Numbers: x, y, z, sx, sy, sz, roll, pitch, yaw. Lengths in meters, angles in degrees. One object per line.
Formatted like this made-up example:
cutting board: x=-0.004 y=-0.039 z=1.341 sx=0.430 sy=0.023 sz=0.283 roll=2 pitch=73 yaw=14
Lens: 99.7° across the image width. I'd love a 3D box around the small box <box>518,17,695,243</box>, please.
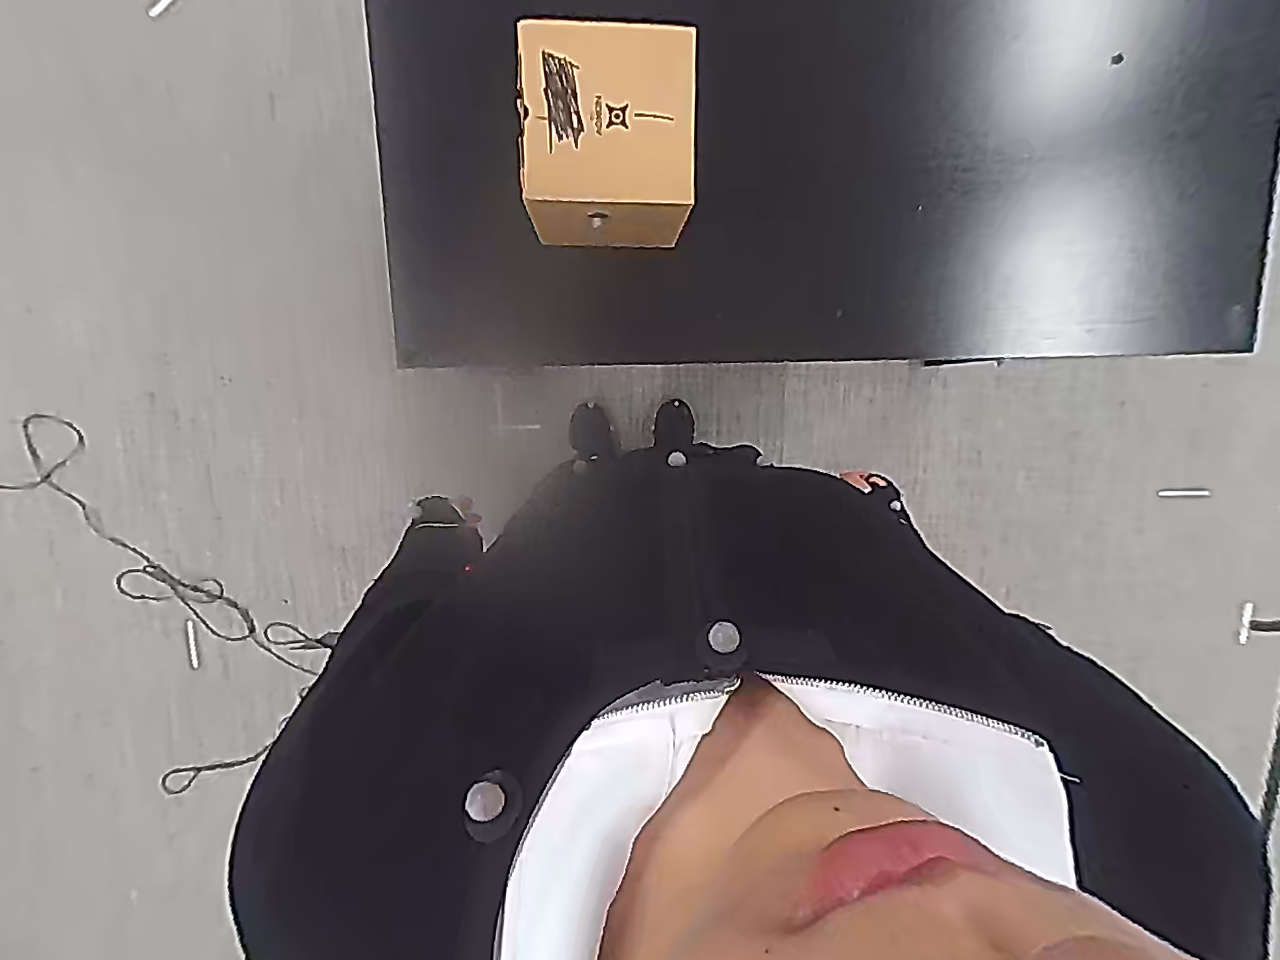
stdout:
small box: x=-0.037 y=-0.380 z=0.619 sx=0.179 sy=0.176 sz=0.168 roll=-1 pitch=99 yaw=-4
